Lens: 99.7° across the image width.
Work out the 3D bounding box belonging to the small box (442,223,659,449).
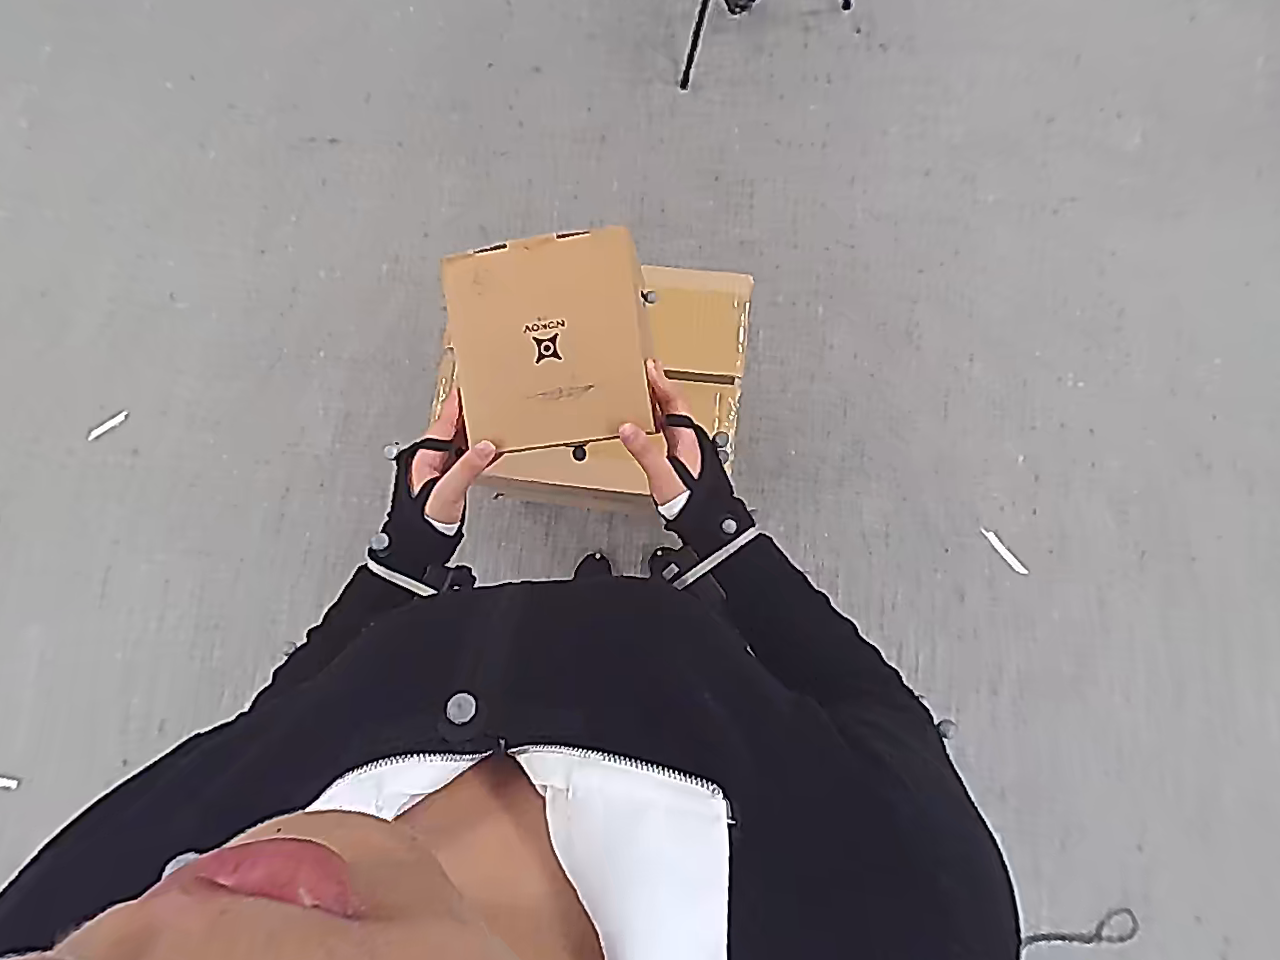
[{"bbox_3d":[-0.074,-0.126,0.543,0.168,0.176,0.179,-7,94,6],"label":"small box"}]
